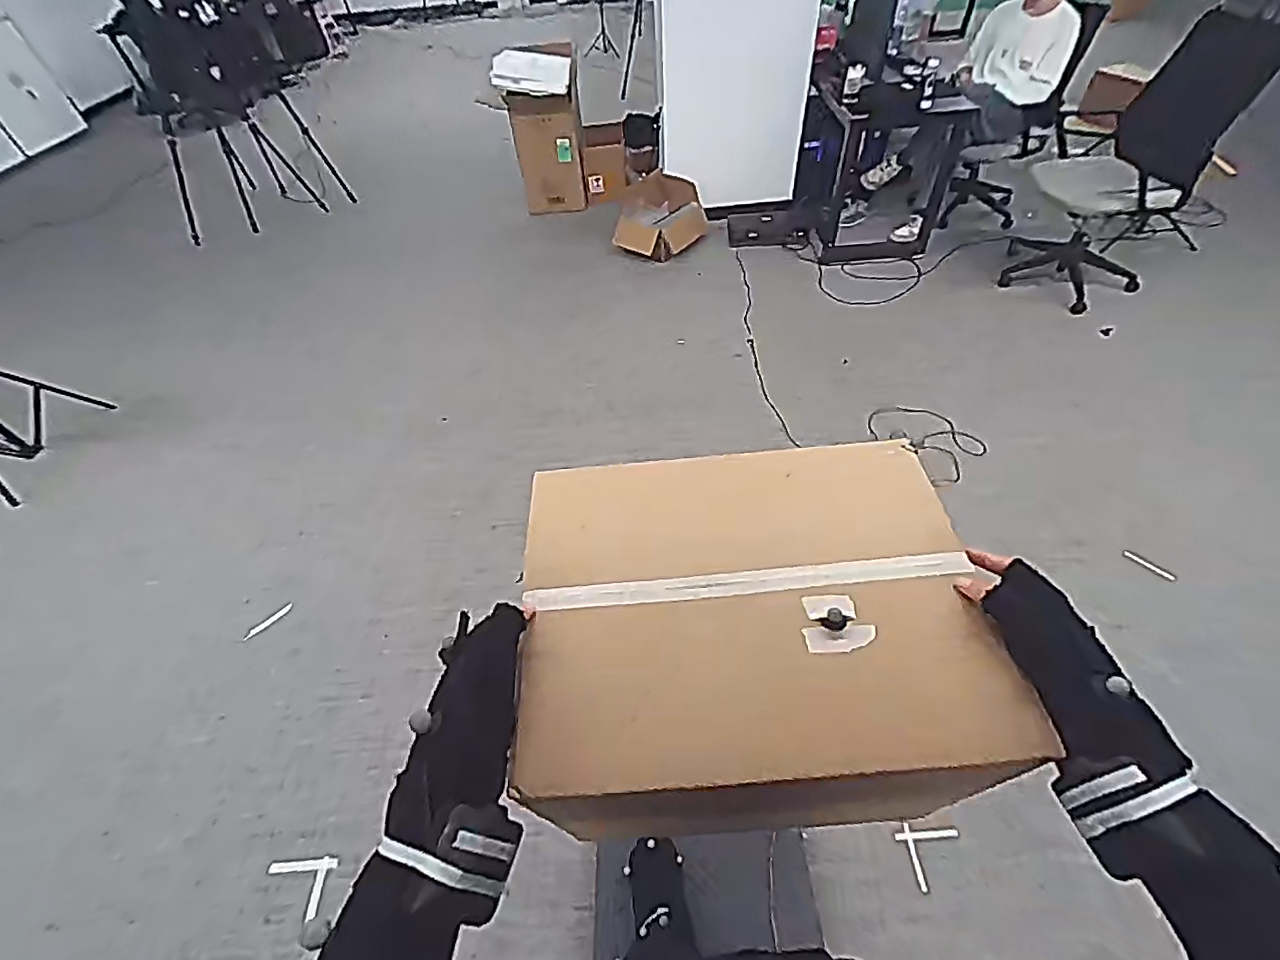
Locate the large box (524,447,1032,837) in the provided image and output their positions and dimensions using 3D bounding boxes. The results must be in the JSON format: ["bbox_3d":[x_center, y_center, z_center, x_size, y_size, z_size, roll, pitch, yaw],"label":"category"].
[{"bbox_3d":[0.104,0.193,0.622,0.408,0.320,0.320,-5,51,1],"label":"large box"}]
